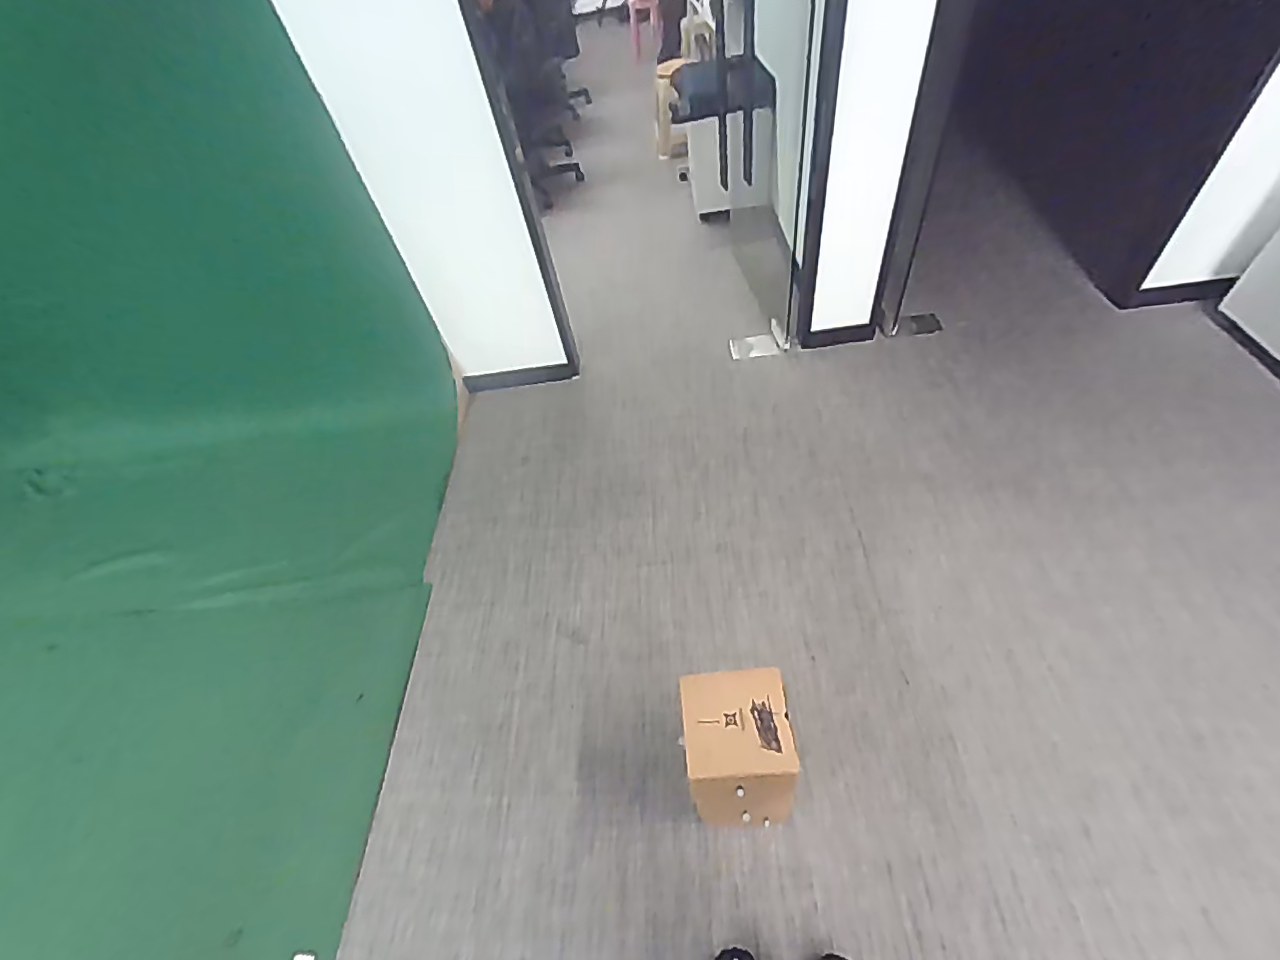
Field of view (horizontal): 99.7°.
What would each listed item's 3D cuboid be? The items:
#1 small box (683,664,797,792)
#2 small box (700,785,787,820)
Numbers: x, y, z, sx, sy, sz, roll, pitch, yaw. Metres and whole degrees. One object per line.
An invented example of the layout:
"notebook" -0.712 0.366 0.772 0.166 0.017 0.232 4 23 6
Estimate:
"small box" 0.168 0.436 0.950 0.179 0.176 0.168 -4 48 7
"small box" 0.221 0.646 1.201 0.179 0.176 0.168 -8 49 7
